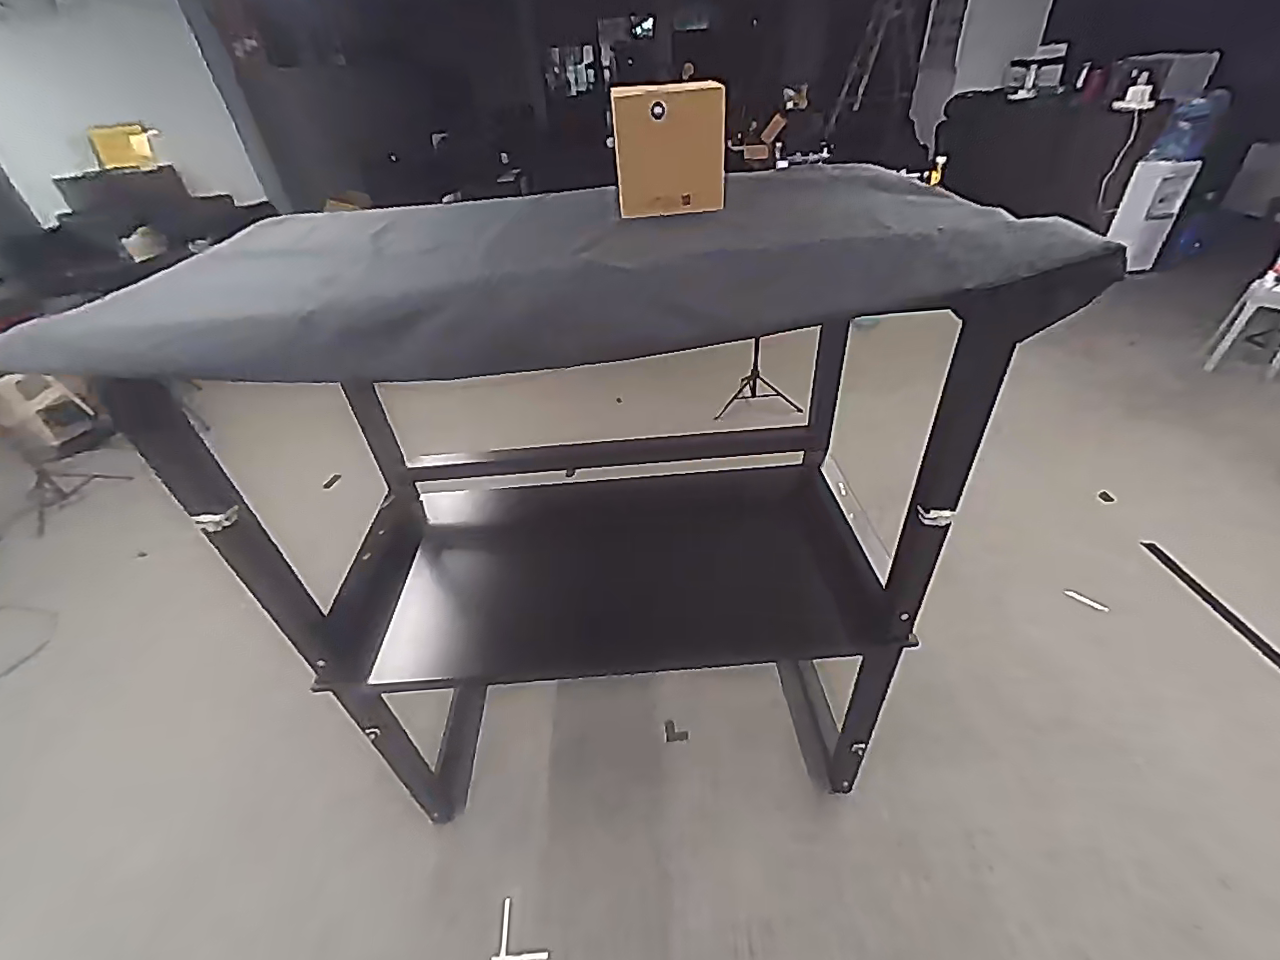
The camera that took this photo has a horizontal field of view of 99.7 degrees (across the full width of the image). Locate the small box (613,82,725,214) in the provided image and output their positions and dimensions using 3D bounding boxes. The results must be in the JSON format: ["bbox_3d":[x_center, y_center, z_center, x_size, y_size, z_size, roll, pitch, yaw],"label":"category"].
[{"bbox_3d":[0.044,-0.552,0.900,0.168,0.176,0.179,-5,37,0],"label":"small box"}]
